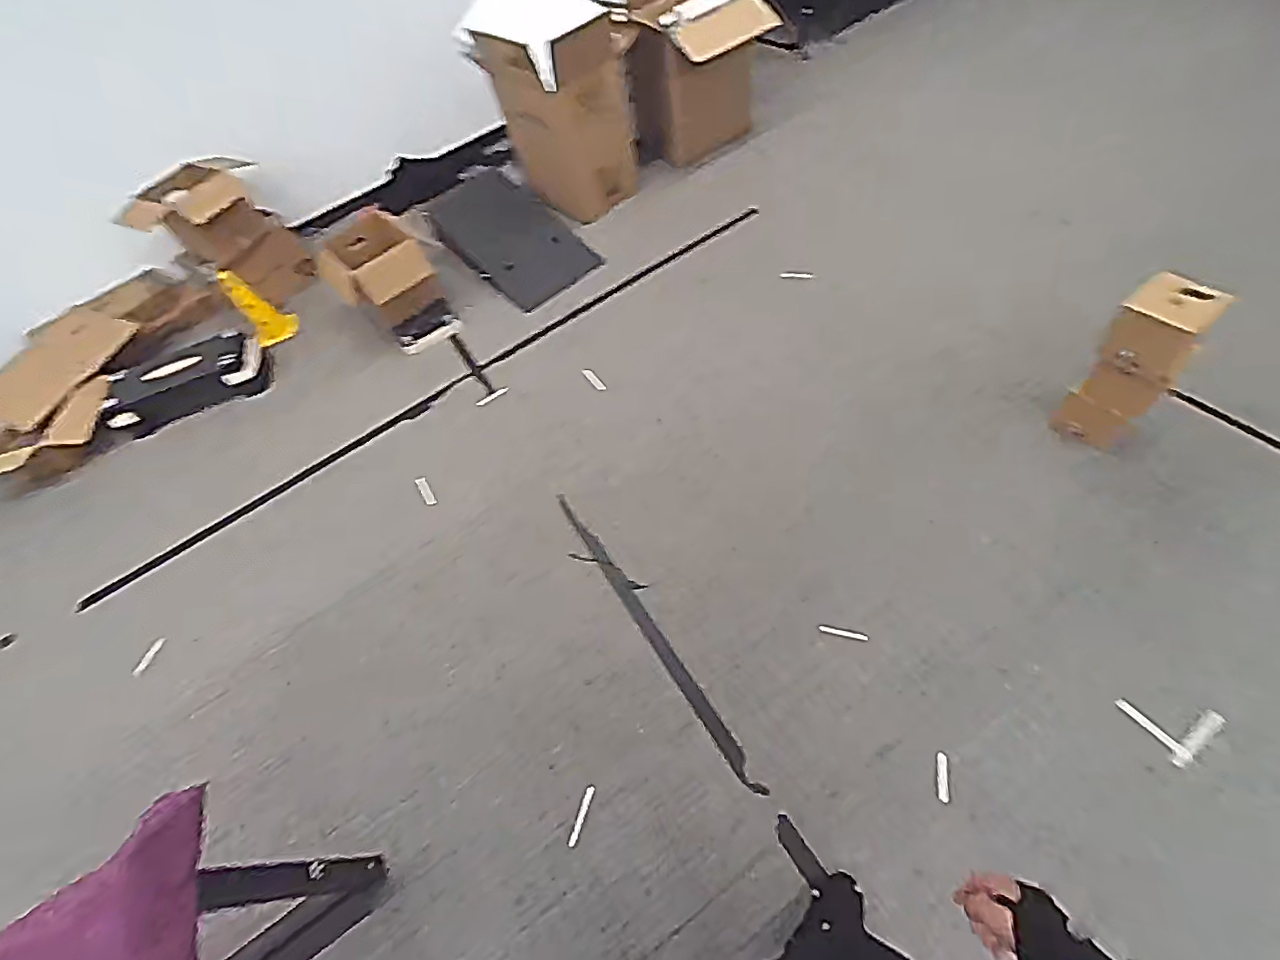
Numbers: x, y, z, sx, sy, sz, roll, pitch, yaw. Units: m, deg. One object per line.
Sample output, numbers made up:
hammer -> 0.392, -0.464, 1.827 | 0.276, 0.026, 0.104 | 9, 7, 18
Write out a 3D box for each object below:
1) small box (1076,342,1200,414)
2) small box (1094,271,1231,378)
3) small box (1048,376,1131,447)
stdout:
small box -> 1.410, -0.320, 1.547 | 0.168, 0.176, 0.179 | -38, 57, -13
small box -> 1.352, -0.405, 1.416 | 0.179, 0.176, 0.168 | -35, 55, -10
small box -> 1.430, -0.238, 1.688 | 0.179, 0.176, 0.168 | -37, 57, -12
